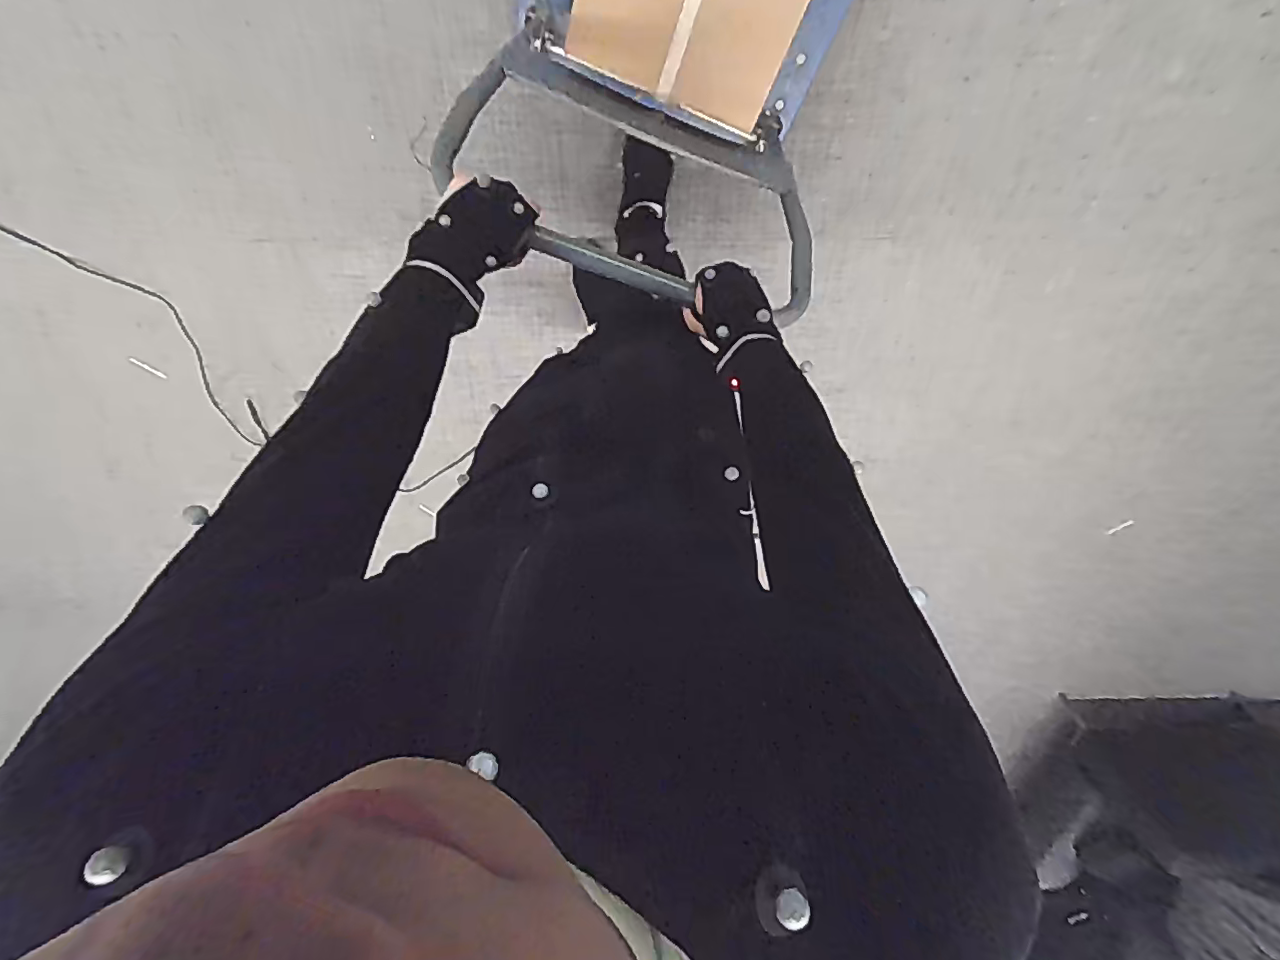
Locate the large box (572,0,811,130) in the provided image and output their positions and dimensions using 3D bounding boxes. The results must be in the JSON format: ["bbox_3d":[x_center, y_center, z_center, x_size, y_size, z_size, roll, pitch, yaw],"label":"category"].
[{"bbox_3d":[0.110,-0.830,0.809,0.320,0.320,0.408,16,134,-12],"label":"large box"}]
